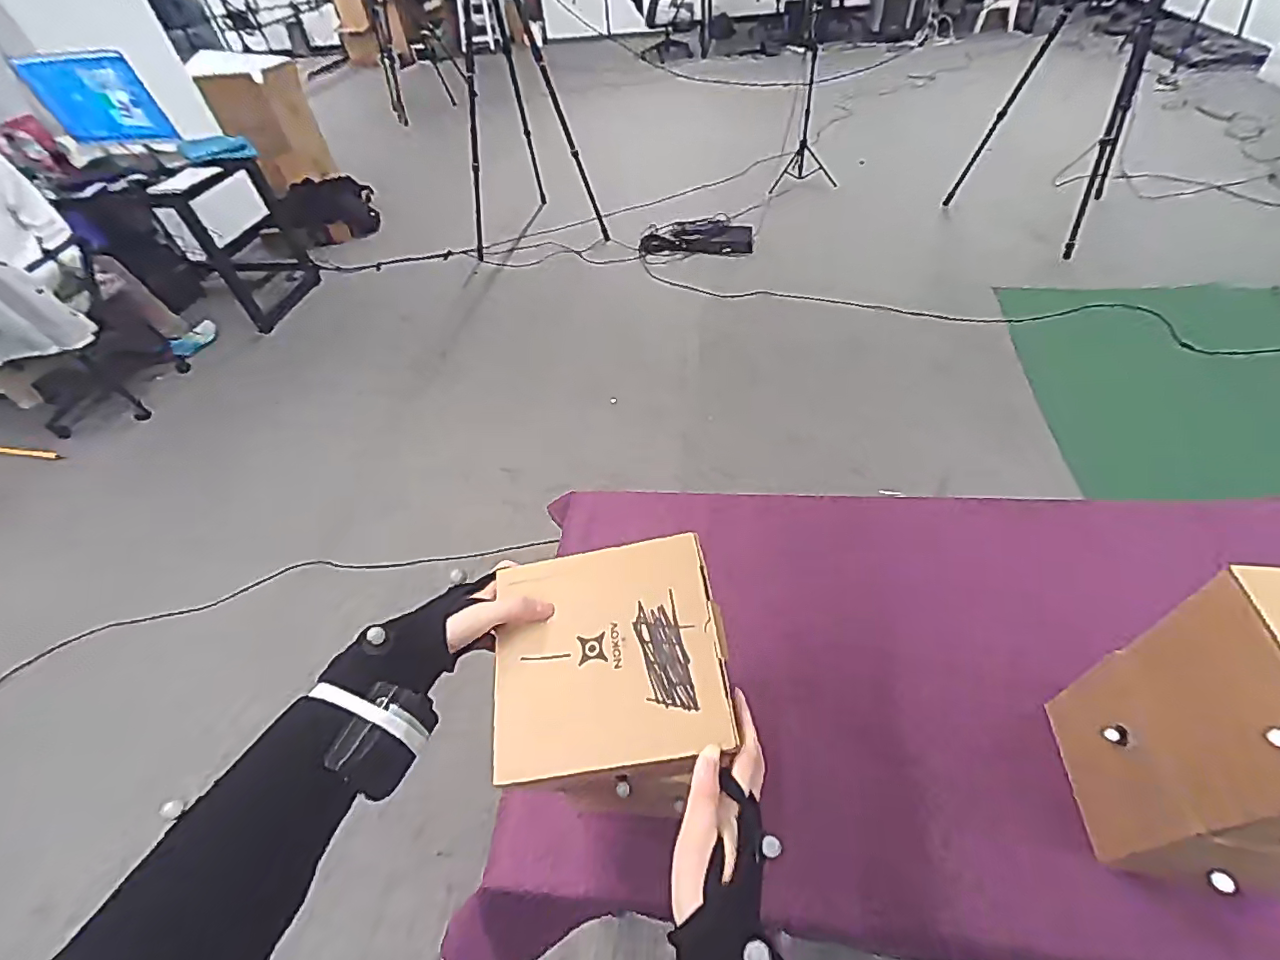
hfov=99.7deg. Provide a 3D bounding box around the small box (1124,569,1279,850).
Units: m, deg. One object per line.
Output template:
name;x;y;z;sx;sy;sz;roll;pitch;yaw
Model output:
small box;0.568;0.198;0.452;0.168;0.176;0.179;3;50;9

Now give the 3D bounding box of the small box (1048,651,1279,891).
small box;0.579;0.307;0.573;0.168;0.176;0.179;3;49;10
